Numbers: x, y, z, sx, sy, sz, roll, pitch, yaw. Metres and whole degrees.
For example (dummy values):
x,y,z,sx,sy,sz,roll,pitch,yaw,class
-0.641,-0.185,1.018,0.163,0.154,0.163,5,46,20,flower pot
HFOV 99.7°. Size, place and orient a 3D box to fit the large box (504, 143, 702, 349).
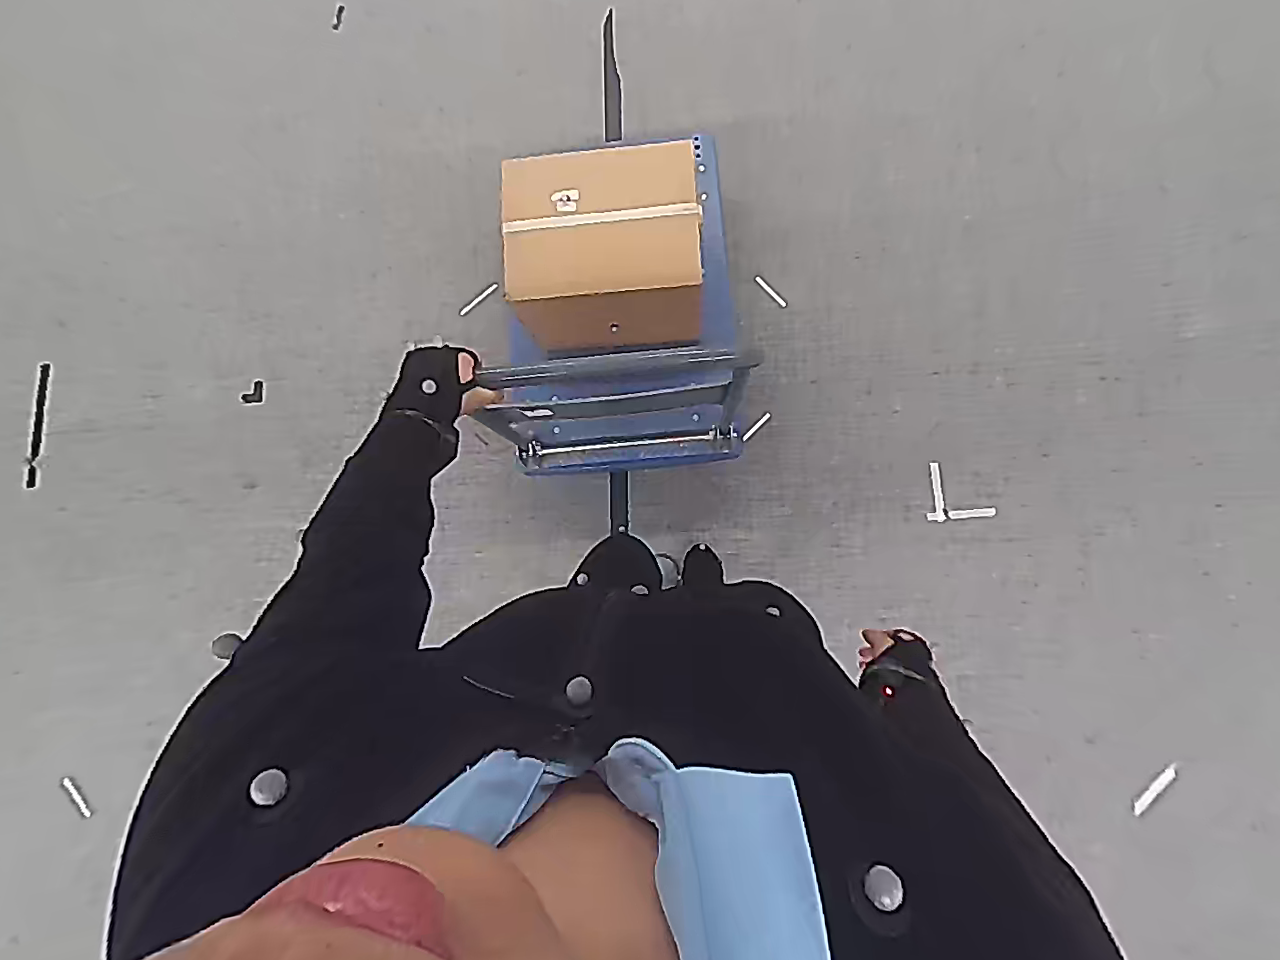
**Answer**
x,y,z,sx,sy,sz,roll,pitch,yaw,class
-0.068,-0.516,1.263,0.408,0.320,0.320,-3,83,6,large box
